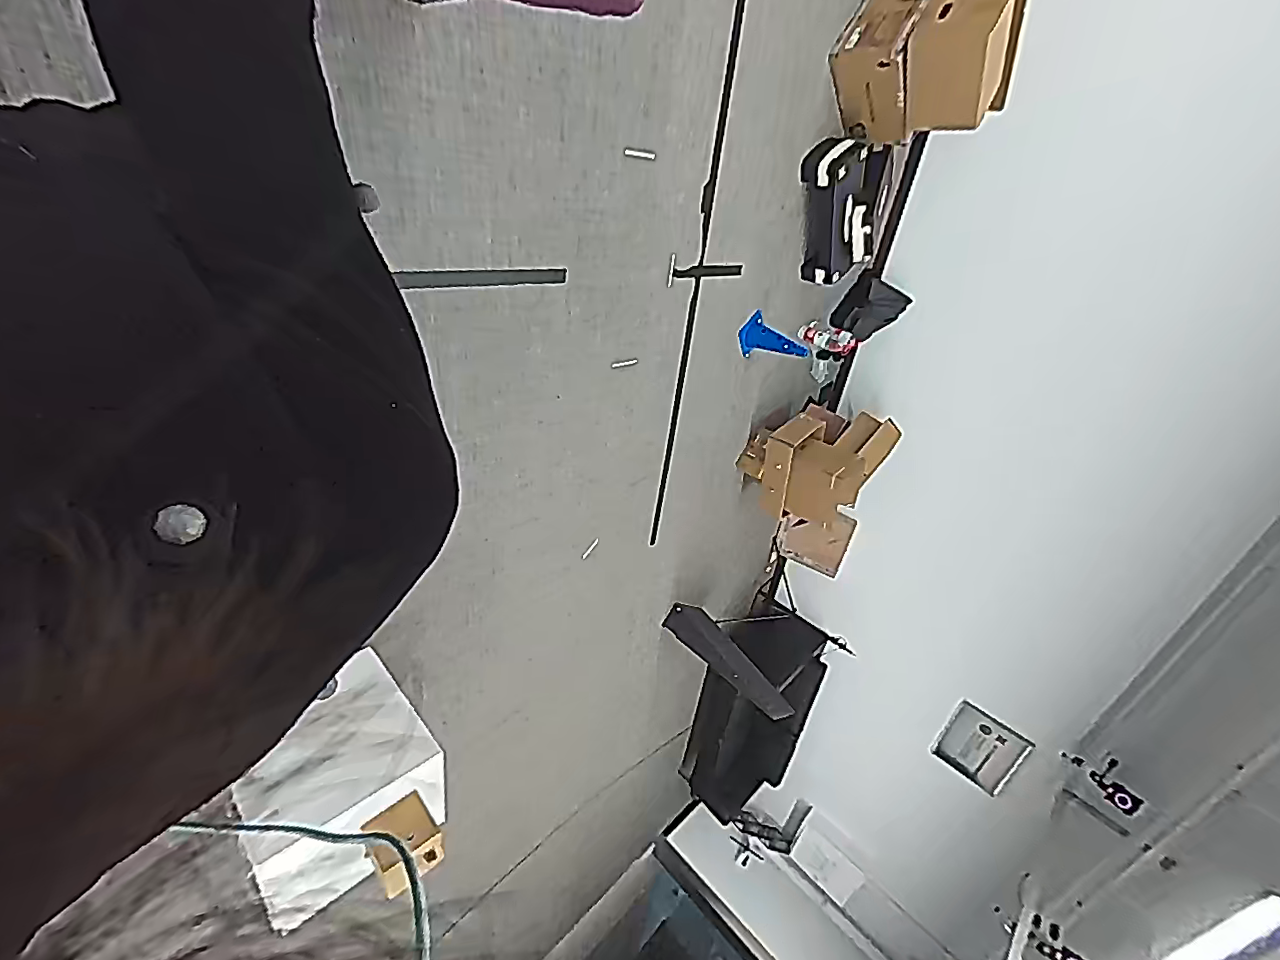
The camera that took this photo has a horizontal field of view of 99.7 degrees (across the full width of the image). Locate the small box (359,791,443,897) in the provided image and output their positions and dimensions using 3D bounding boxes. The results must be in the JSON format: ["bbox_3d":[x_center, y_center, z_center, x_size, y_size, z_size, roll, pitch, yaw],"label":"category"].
[{"bbox_3d":[-0.729,1.104,1.656,0.179,0.176,0.168,-22,132,-40],"label":"small box"}]
